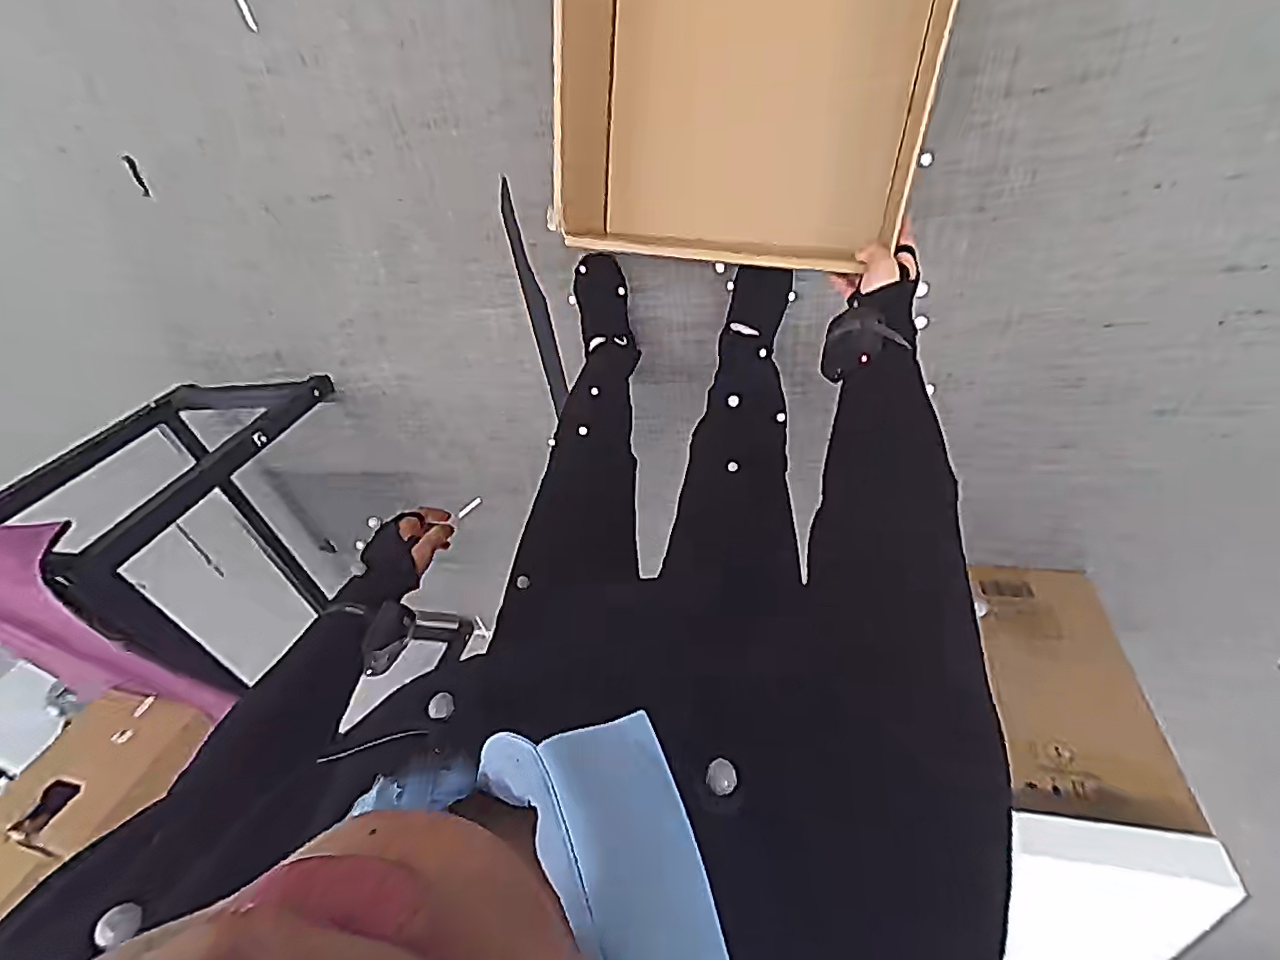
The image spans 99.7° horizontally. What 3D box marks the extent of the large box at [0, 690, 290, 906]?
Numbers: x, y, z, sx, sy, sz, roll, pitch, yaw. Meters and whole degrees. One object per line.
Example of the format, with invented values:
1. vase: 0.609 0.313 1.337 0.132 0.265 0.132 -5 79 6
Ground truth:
1. large box: -1.173 0.762 1.310 0.320 0.320 0.408 4 132 16

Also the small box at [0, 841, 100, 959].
1. small box: -1.243 0.835 1.059 0.179 0.176 0.168 3 132 15
